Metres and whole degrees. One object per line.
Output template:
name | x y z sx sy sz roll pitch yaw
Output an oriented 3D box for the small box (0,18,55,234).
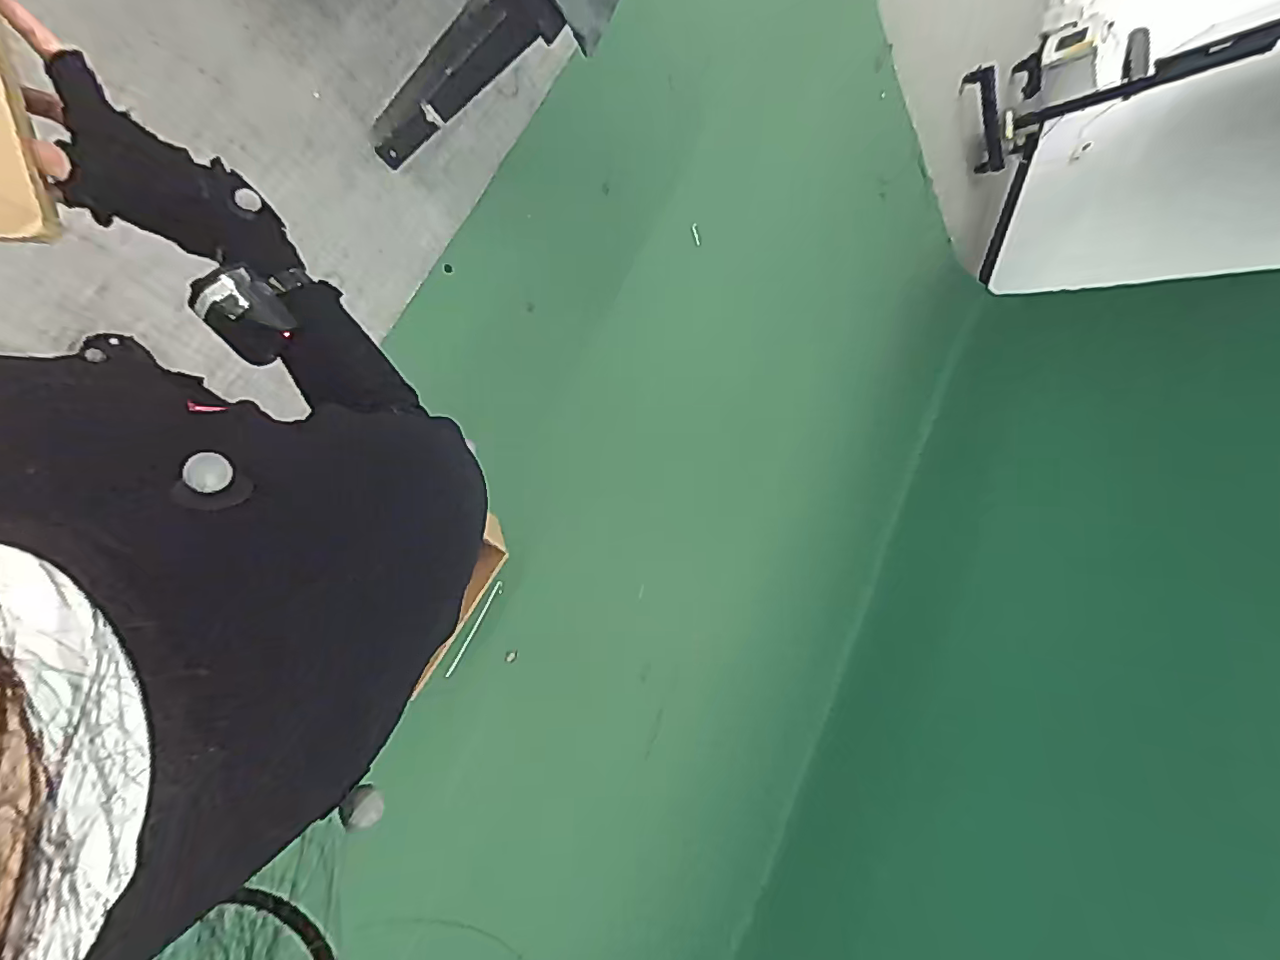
small box | -0.428 -0.222 0.261 0.168 0.176 0.179 -15 120 -39
